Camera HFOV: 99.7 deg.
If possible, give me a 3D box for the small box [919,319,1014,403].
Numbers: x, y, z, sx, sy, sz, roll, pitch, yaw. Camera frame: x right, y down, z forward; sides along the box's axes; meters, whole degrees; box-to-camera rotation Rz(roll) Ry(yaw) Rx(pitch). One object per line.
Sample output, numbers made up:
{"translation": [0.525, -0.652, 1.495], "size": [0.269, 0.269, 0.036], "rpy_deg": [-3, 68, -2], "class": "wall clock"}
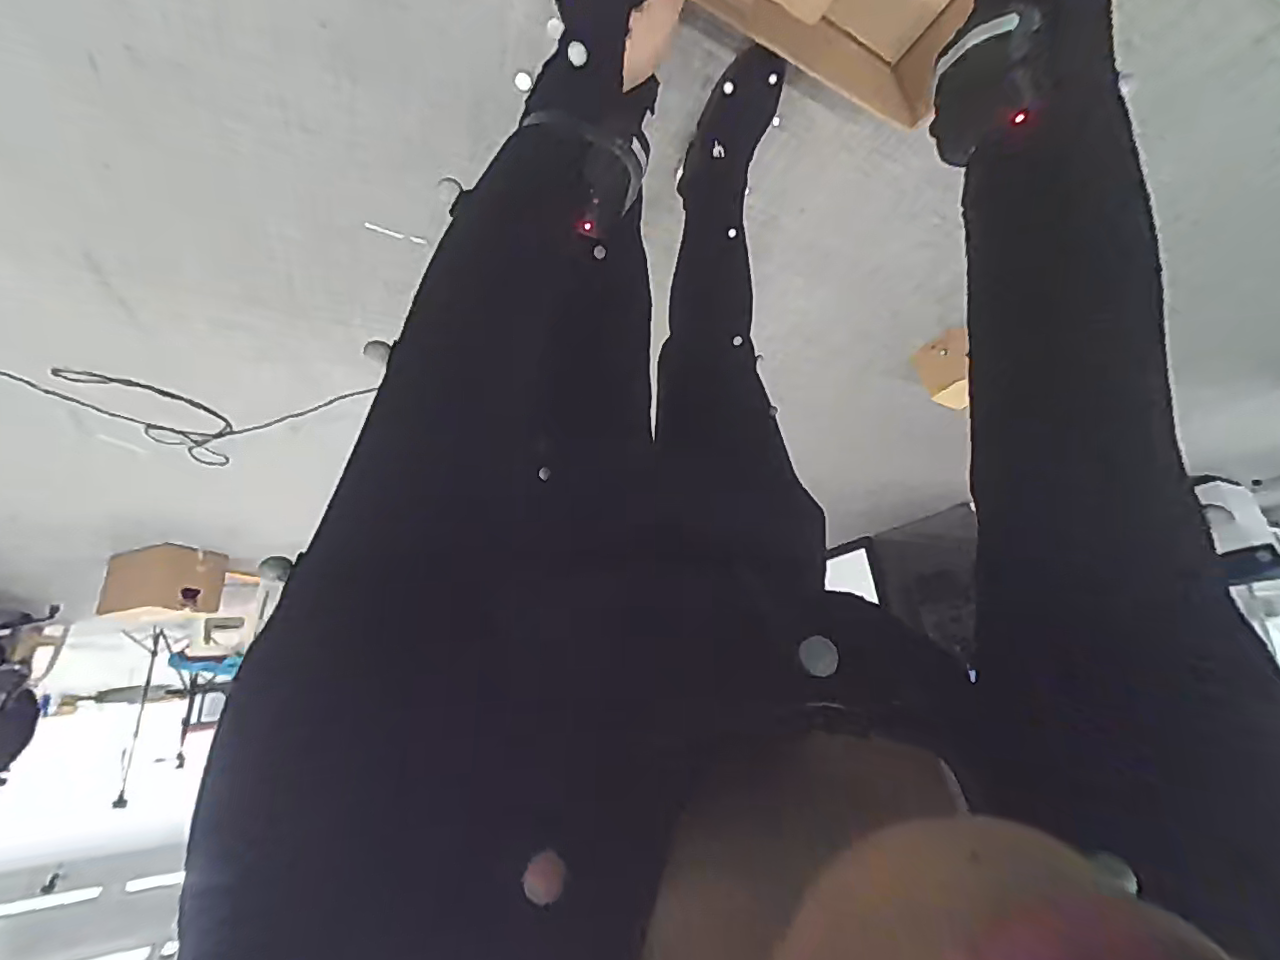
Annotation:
{"translation": [0.978, -0.358, 1.627], "size": [0.179, 0.176, 0.168], "rpy_deg": [9, 154, -33], "class": "small box"}
